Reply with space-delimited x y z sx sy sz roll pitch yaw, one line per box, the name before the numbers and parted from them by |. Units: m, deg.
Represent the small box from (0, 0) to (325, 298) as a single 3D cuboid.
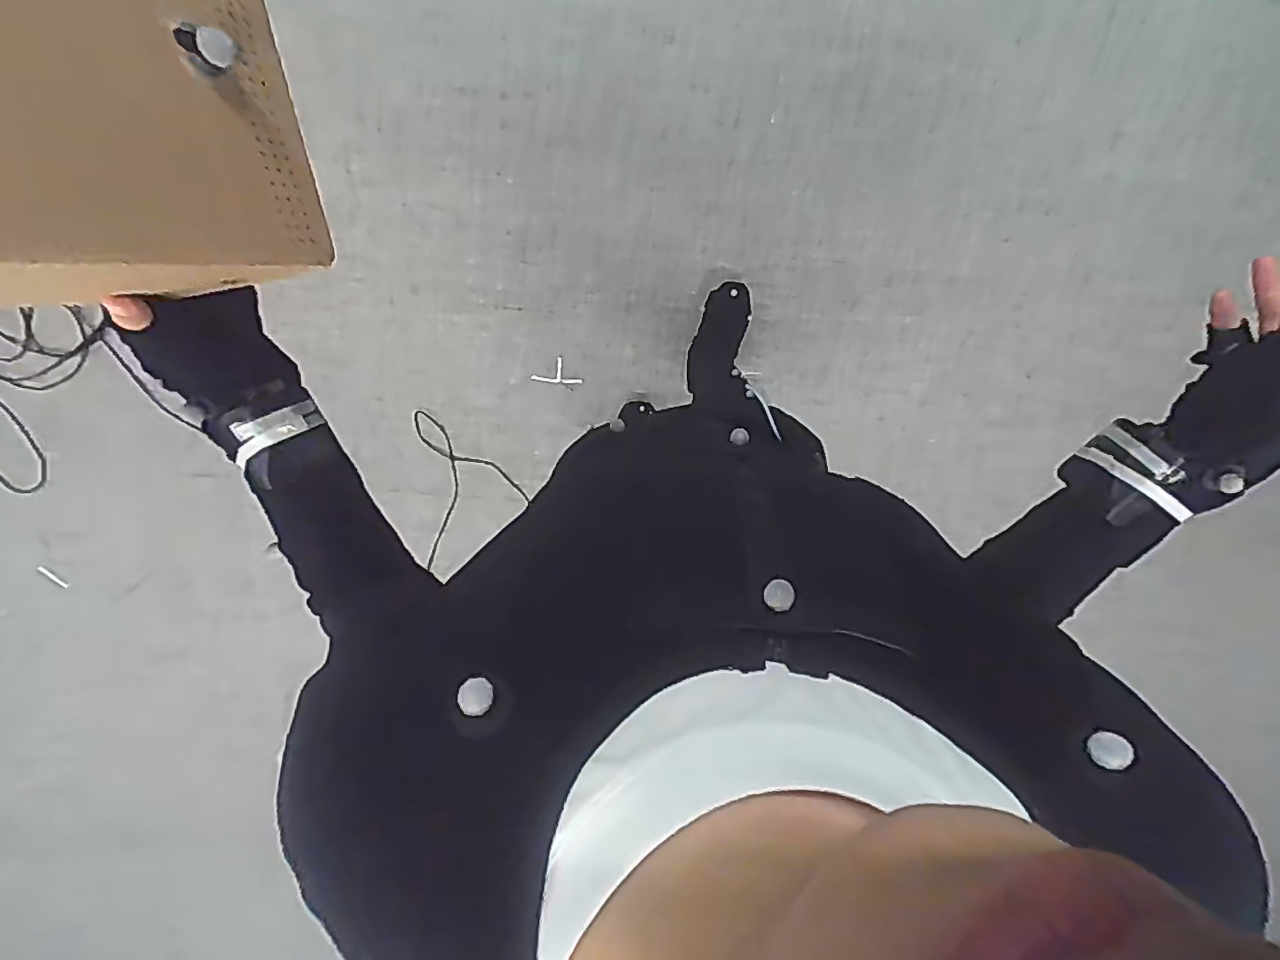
small box | -0.275 -0.171 0.220 0.168 0.176 0.179 0 110 21
